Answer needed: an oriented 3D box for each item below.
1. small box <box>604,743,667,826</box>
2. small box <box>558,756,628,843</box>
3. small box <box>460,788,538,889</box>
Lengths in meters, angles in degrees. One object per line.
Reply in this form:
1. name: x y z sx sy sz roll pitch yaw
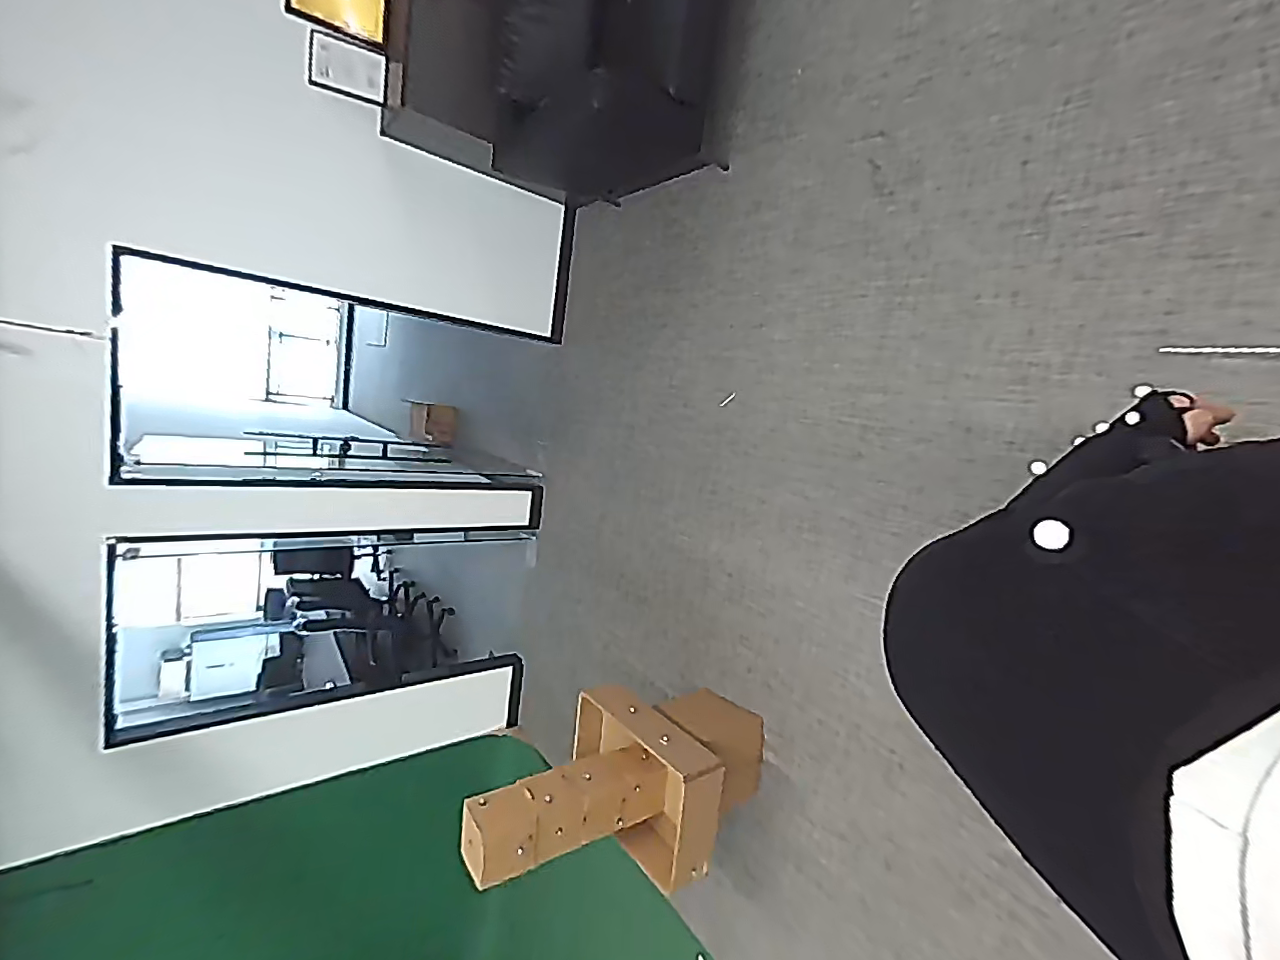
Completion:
1. small box: -0.021 1.063 1.901 0.168 0.176 0.179 12 97 53
2. small box: -0.156 1.056 1.807 0.179 0.176 0.168 13 98 54
3. small box: -0.422 1.054 1.613 0.179 0.176 0.168 11 98 53
